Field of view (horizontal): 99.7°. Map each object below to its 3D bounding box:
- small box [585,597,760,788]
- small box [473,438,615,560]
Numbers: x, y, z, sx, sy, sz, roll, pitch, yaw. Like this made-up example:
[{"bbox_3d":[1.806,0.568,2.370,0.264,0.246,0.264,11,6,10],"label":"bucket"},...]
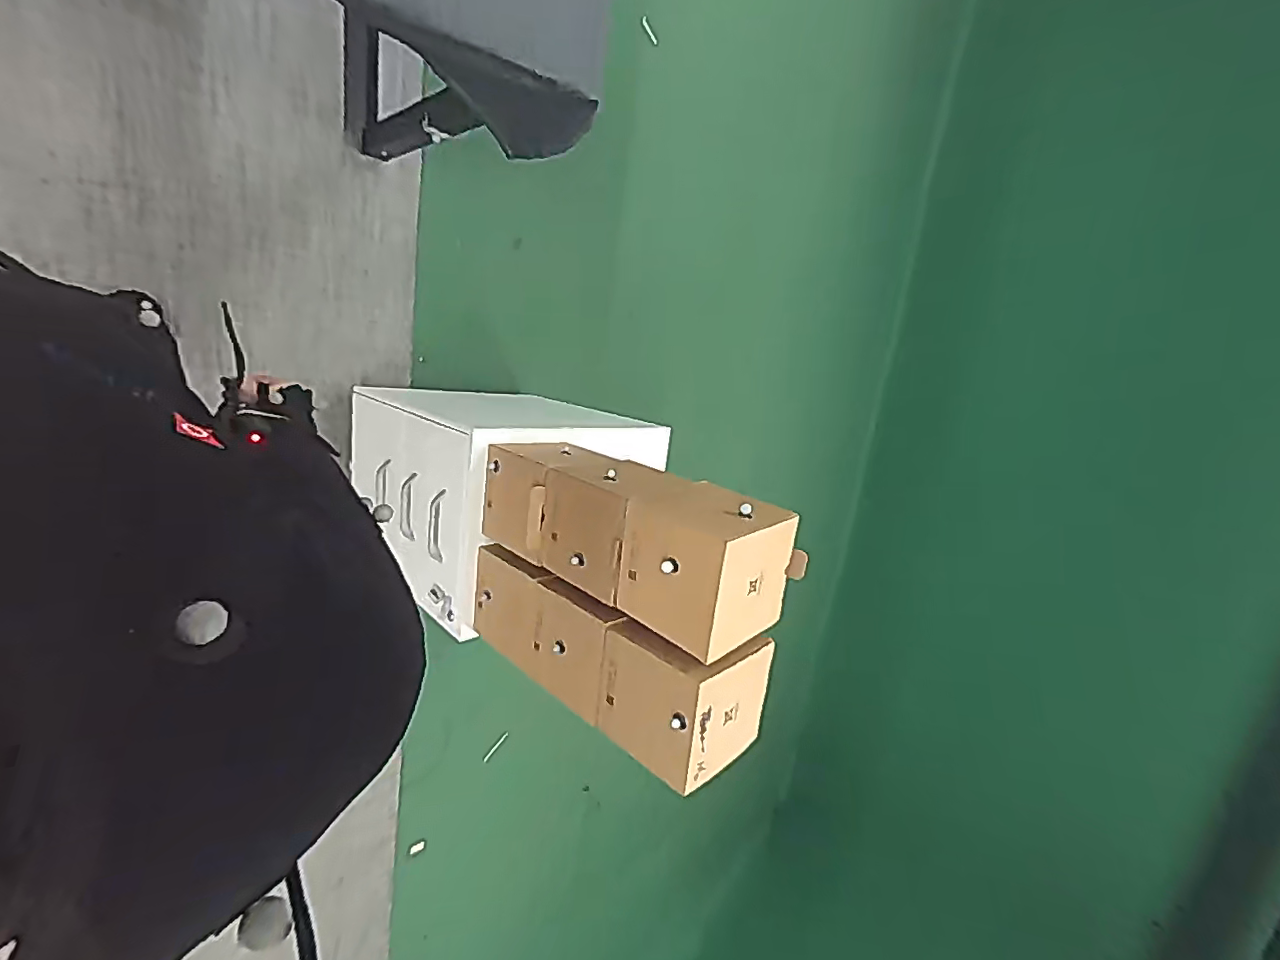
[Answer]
[{"bbox_3d":[0.046,0.288,0.784,0.179,0.176,0.168,-8,110,-48],"label":"small box"},{"bbox_3d":[-0.172,0.024,0.948,0.179,0.176,0.168,-6,110,-48],"label":"small box"}]
